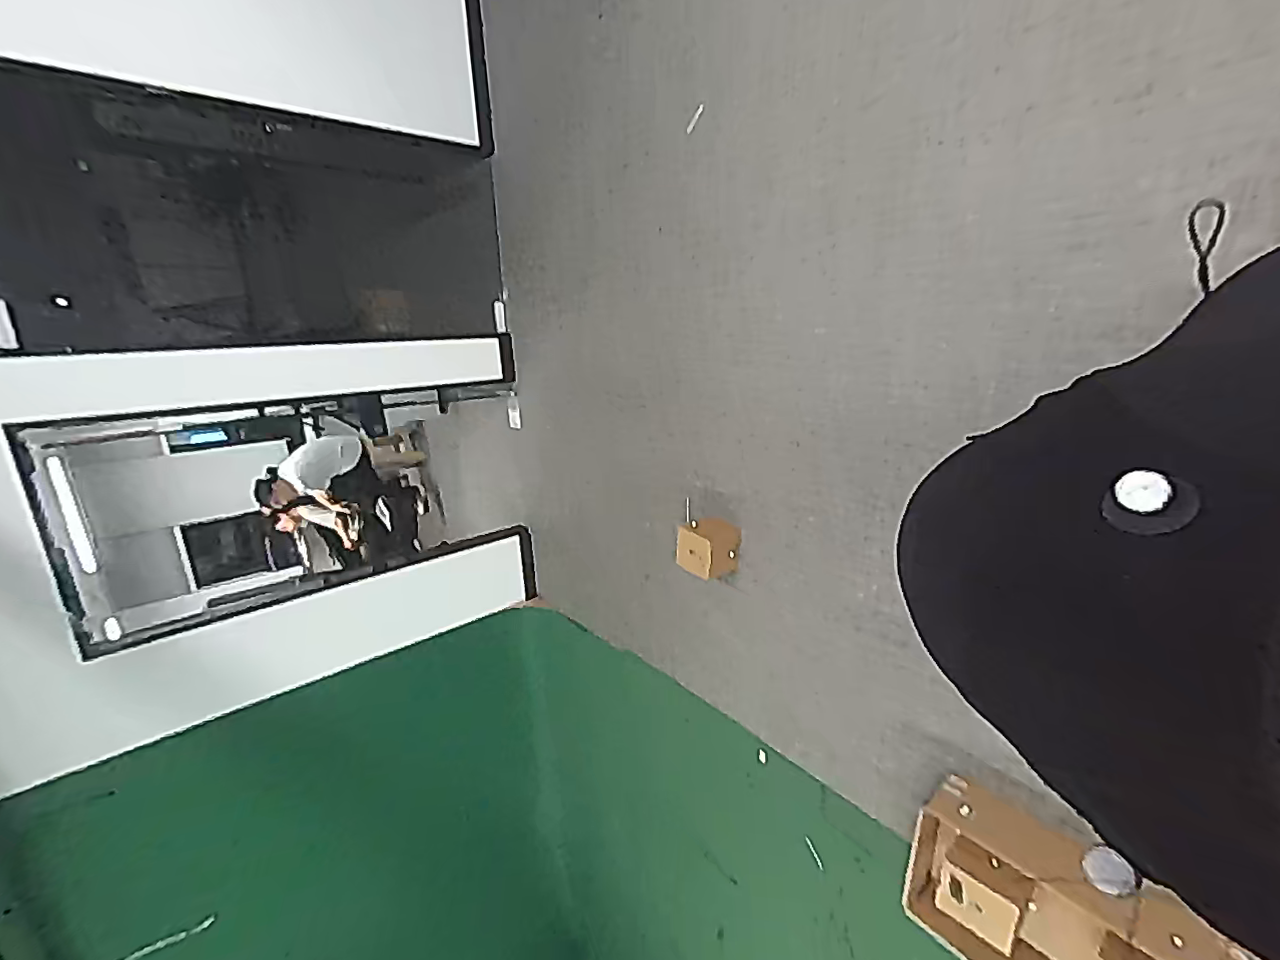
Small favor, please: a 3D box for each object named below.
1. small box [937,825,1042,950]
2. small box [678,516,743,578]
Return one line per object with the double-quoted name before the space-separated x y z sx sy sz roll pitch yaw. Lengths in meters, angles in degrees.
"small box" 0.923 1.060 1.430 0.179 0.176 0.168 18 114 47
"small box" 0.270 0.250 2.076 0.179 0.176 0.168 23 120 46
